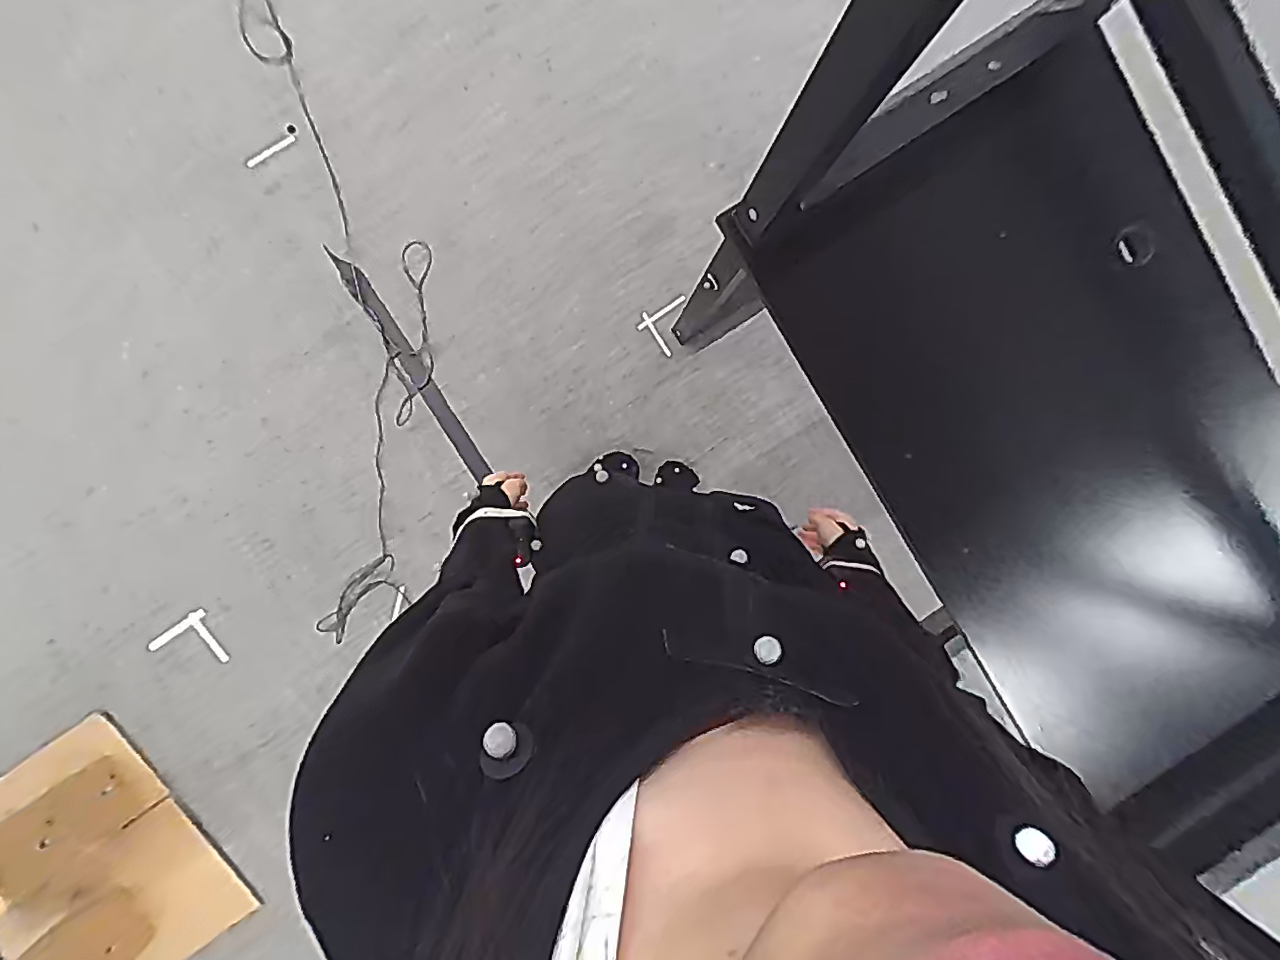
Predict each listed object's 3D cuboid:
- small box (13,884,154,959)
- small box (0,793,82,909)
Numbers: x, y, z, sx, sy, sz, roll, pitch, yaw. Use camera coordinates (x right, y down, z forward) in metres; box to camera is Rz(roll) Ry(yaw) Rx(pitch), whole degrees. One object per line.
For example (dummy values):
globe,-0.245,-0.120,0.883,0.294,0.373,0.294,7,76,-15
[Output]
small box,-1.435,1.213,1.403,0.168,0.176,0.179,-25,97,-2
small box,-1.444,0.858,1.214,0.179,0.176,0.168,-30,96,-2
